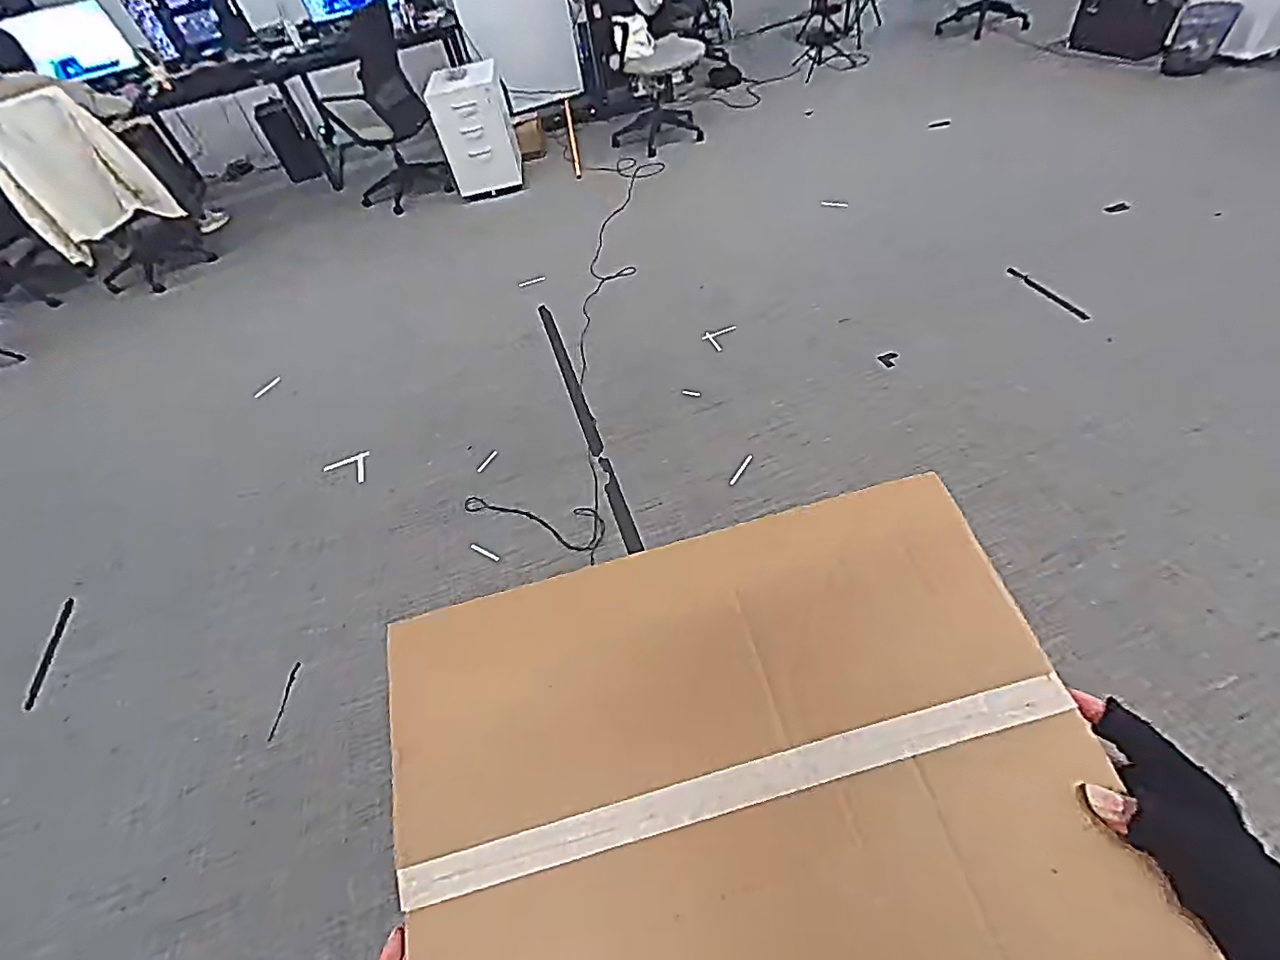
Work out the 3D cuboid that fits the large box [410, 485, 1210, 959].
[{"bbox_3d":[0.077,0.255,0.458,0.408,0.320,0.320,-16,64,-1],"label":"large box"}]
